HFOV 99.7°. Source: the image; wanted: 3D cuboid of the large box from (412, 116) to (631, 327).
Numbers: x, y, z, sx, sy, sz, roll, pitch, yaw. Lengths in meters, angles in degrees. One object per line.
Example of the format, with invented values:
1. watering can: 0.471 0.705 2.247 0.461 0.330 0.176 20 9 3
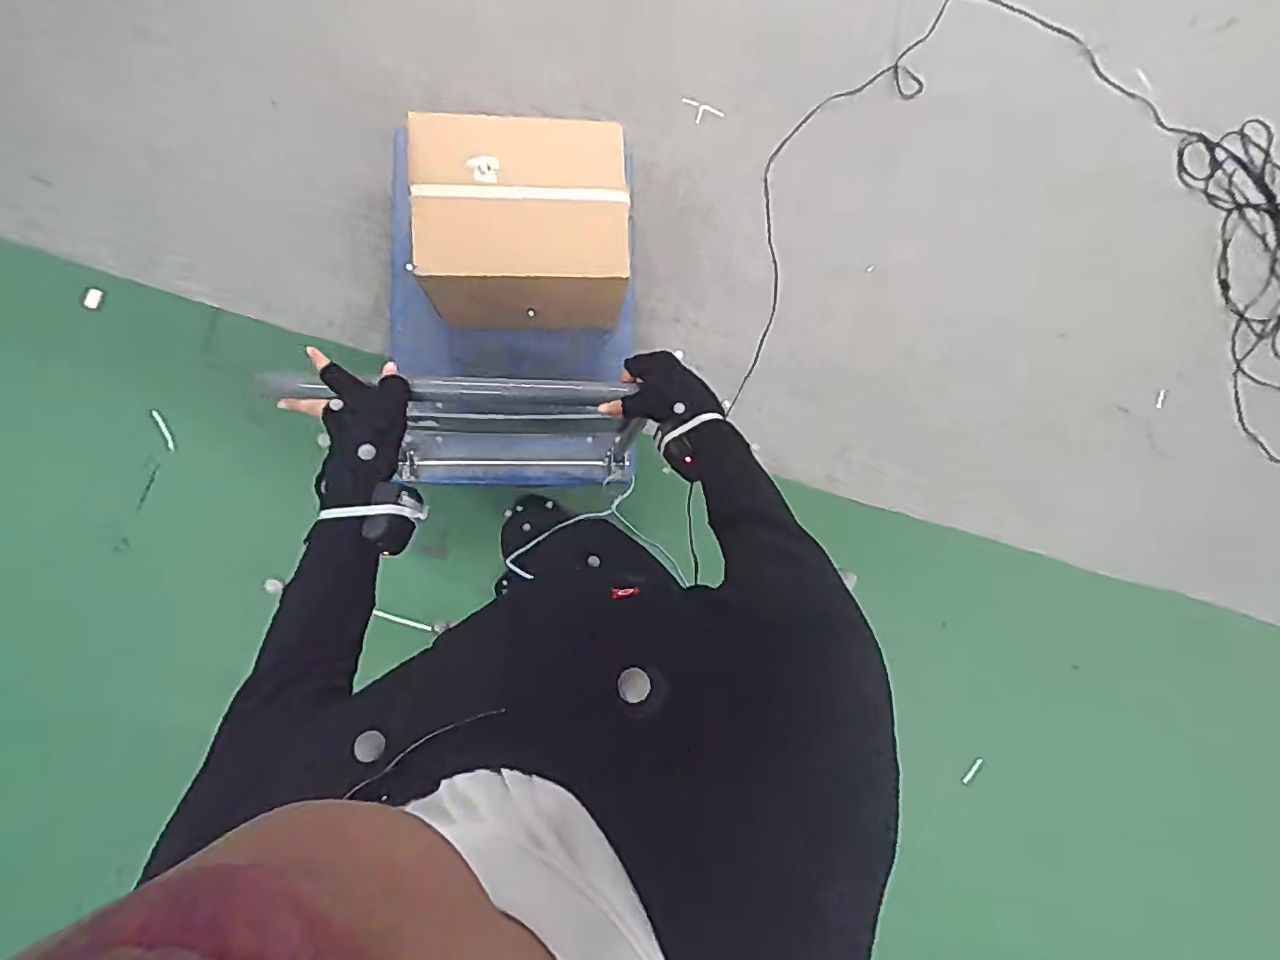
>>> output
1. large box: -0.239 -0.530 1.173 0.408 0.320 0.320 -2 86 -8
